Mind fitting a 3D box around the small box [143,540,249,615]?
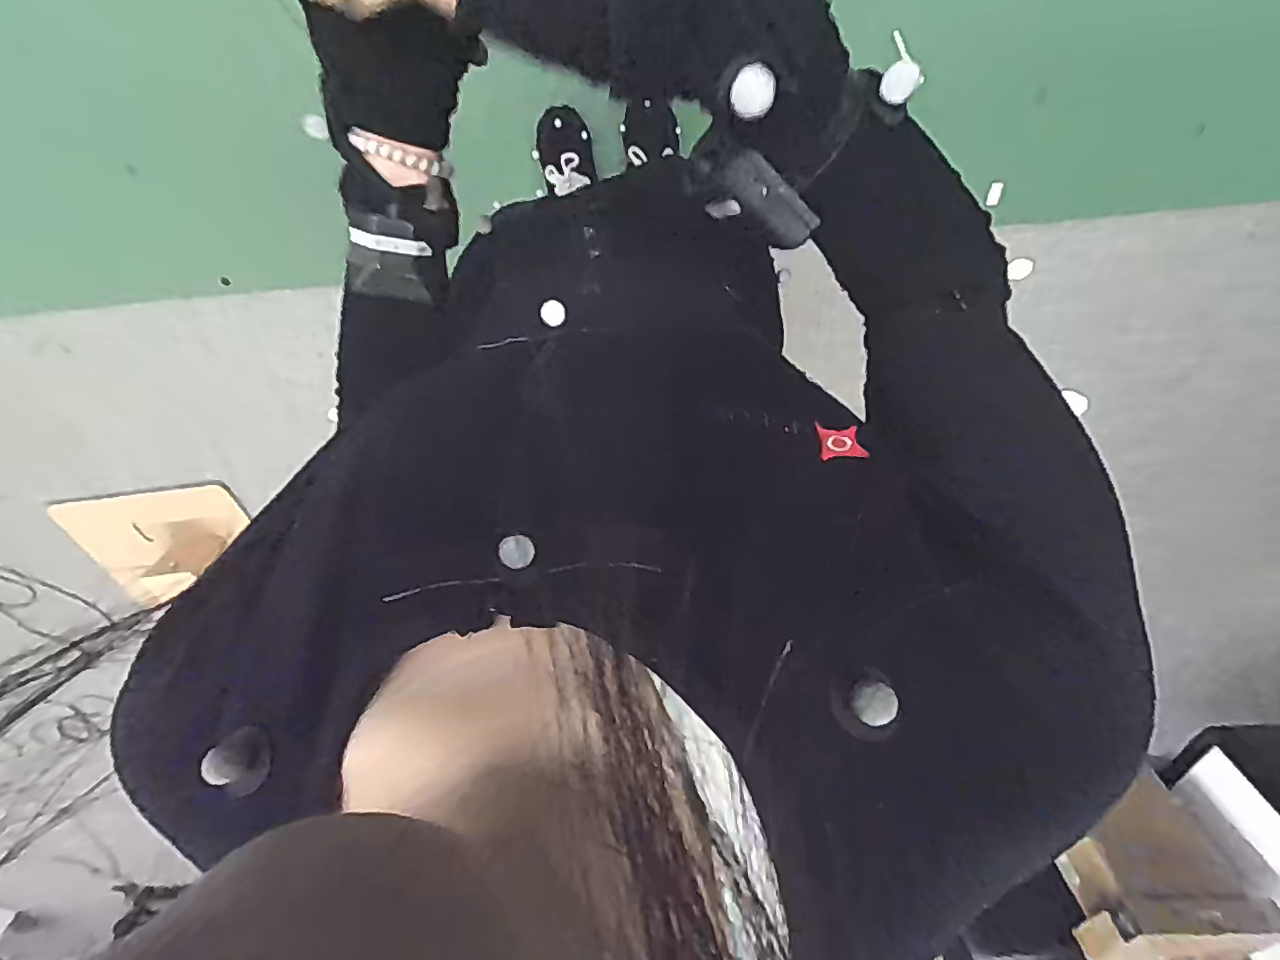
[{"bbox_3d":[-1.465,0.321,1.798,0.179,0.176,0.168,-9,126,3],"label":"small box"}]
